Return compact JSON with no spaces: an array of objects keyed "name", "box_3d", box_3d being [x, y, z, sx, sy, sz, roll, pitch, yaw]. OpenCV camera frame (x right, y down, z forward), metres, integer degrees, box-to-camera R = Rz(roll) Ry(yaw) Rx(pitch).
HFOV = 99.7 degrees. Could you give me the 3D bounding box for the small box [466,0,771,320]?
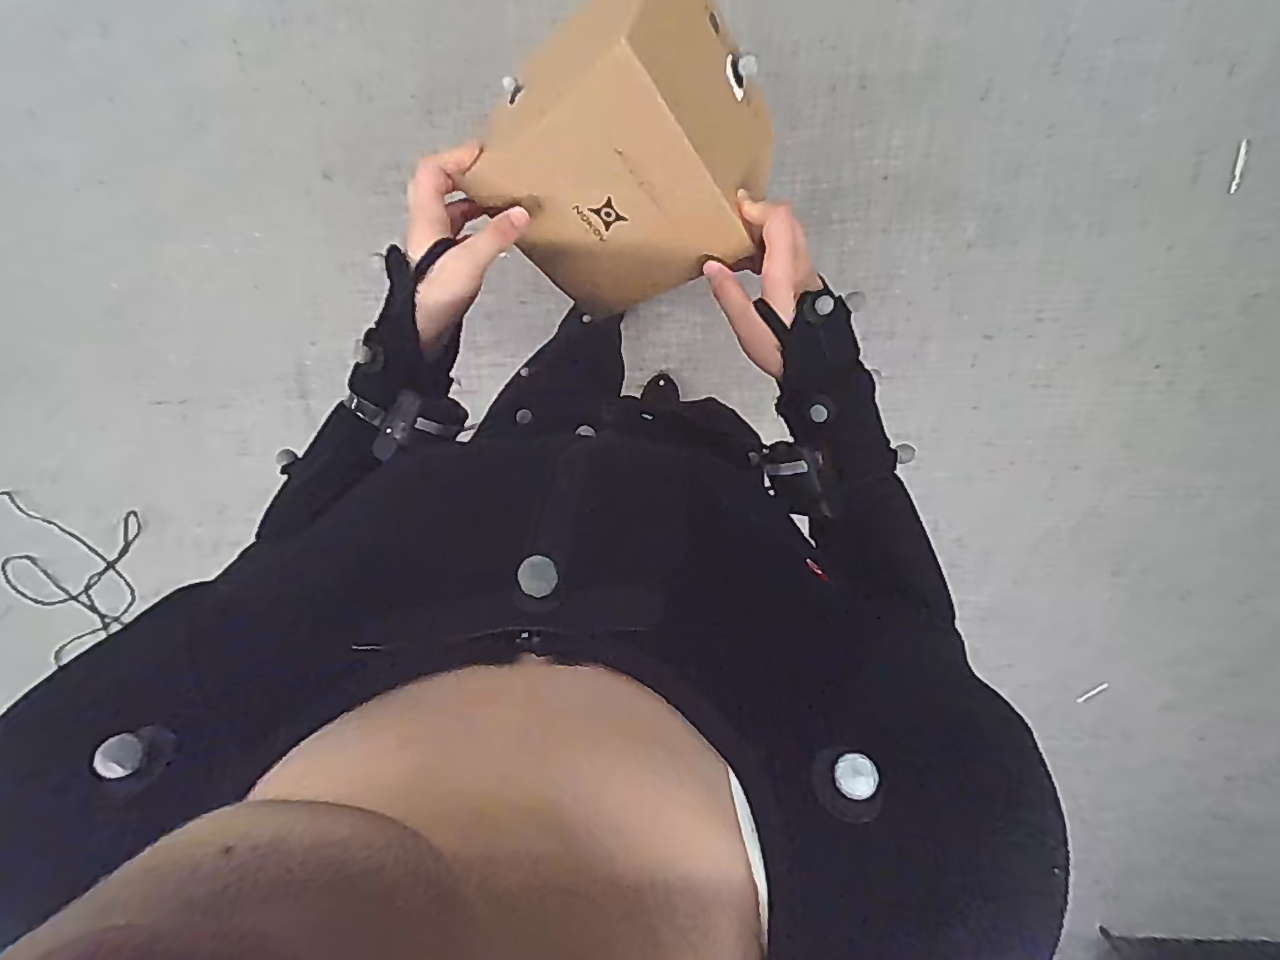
[{"name":"small box","box_3d":[-0.006,-0.274,0.452,0.179,0.176,0.168,-12,145,38]}]
